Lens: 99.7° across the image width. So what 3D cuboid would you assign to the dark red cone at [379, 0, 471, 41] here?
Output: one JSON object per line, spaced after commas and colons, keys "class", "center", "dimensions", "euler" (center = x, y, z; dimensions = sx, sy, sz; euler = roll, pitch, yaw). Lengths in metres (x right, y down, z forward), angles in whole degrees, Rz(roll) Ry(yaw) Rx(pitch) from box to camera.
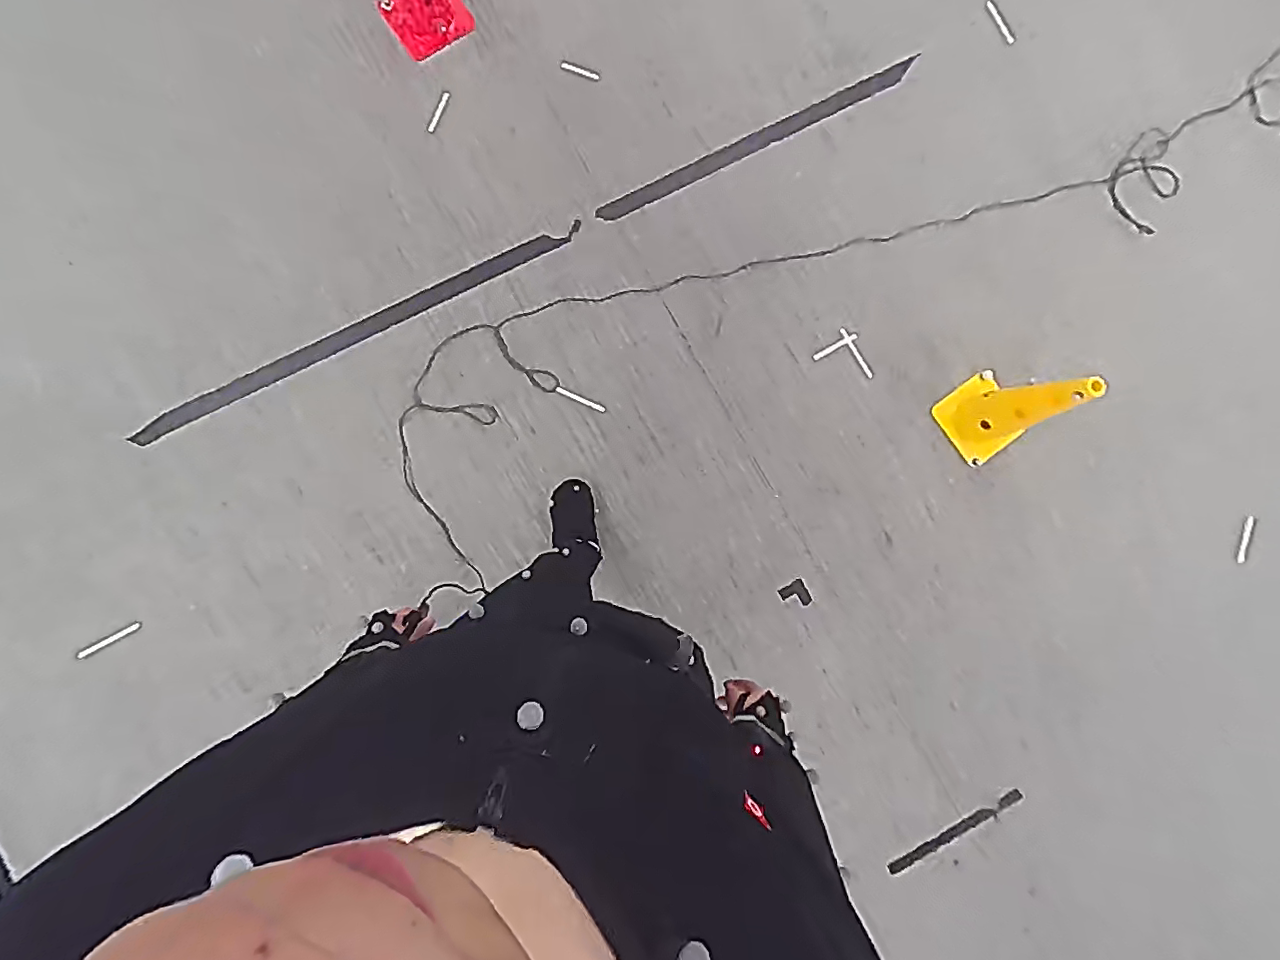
{"class": "dark red cone", "center": [-0.556, -1.267, 1.243], "dimensions": [0.202, 0.394, 0.201], "euler": [-36, 90, -5]}
